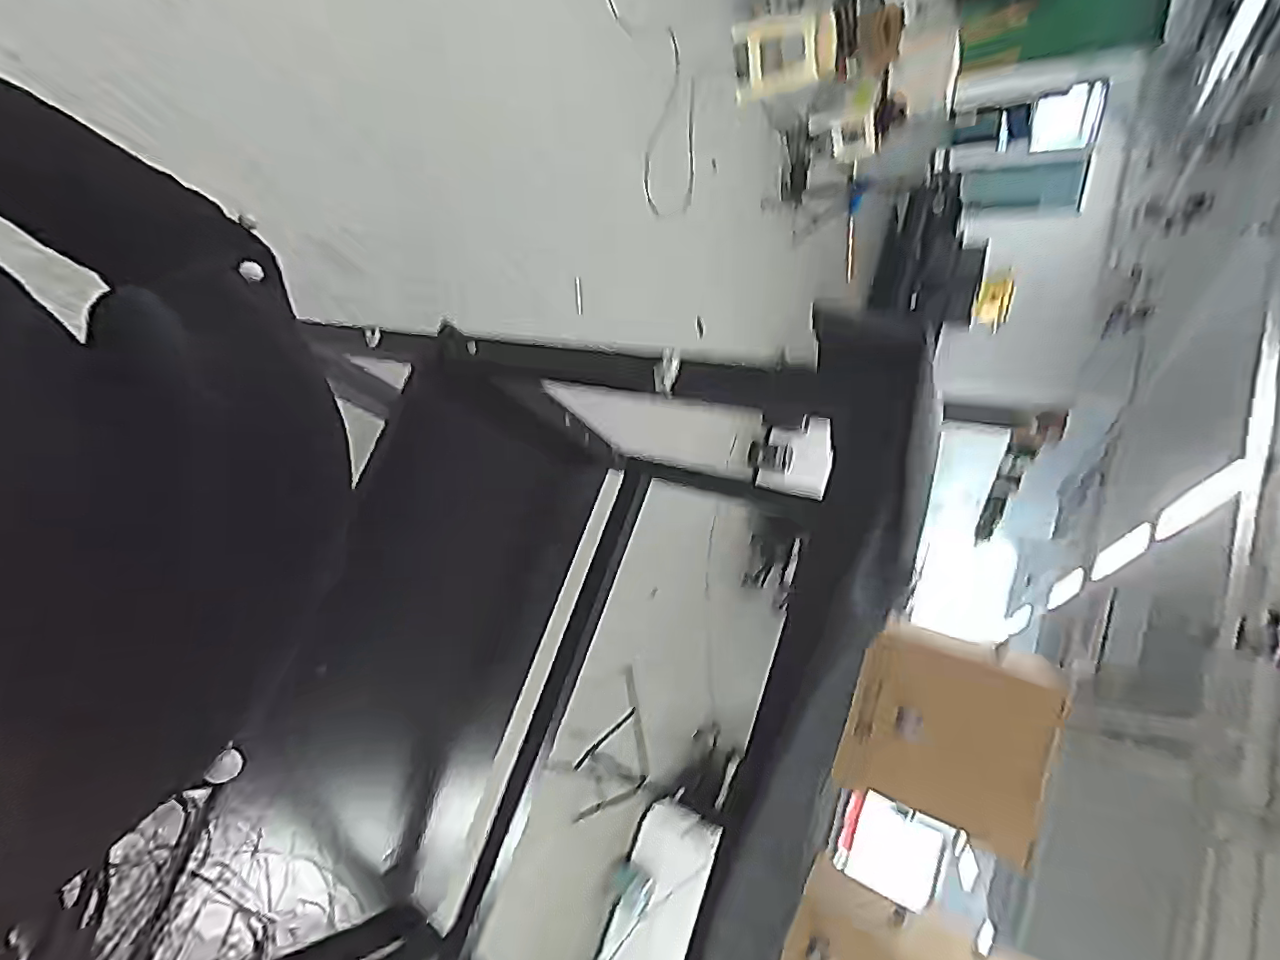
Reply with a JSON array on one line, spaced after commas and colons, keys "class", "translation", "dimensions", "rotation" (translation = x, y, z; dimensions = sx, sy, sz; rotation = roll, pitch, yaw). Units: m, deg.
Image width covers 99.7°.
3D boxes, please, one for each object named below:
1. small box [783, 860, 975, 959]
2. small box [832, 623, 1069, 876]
[{"class": "small box", "translation": [0.229, 0.530, 0.544], "dimensions": [0.179, 0.176, 0.168], "rotation": [39, 69, -59]}, {"class": "small box", "translation": [0.319, 0.261, 0.579], "dimensions": [0.179, 0.176, 0.168], "rotation": [22, 83, -61]}]
